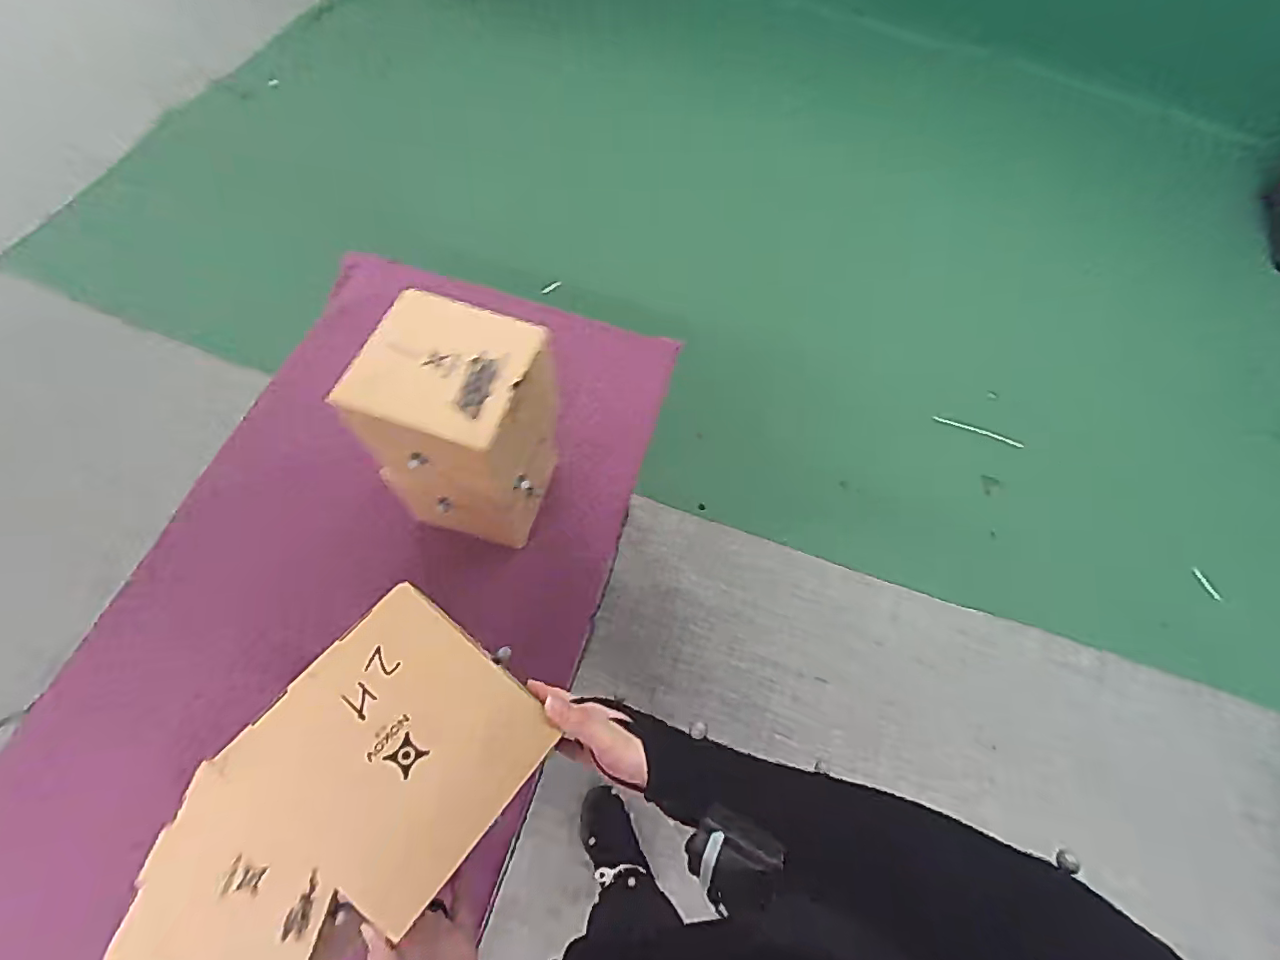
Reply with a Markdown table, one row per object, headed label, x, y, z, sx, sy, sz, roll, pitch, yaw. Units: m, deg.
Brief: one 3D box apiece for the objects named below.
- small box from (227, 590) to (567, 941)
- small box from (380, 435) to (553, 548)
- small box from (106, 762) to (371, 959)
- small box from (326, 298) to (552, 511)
| label | x | y | z | sx | sy | sz | roll | pitch | yaw |
| --- | --- | --- | --- | --- | --- | --- | --- | --- | --- |
| small box | -0.184 | 0.220 | 0.465 | 0.179 | 0.176 | 0.168 | 42 | 68 | 5 |
| small box | -0.237 | -0.013 | 0.798 | 0.179 | 0.176 | 0.168 | 15 | 65 | 4 |
| small box | -0.382 | 0.412 | 0.584 | 0.179 | 0.176 | 0.168 | 12 | 64 | 1 |
| small box | -0.218 | -0.080 | 0.649 | 0.179 | 0.176 | 0.168 | 18 | 65 | 6 |
